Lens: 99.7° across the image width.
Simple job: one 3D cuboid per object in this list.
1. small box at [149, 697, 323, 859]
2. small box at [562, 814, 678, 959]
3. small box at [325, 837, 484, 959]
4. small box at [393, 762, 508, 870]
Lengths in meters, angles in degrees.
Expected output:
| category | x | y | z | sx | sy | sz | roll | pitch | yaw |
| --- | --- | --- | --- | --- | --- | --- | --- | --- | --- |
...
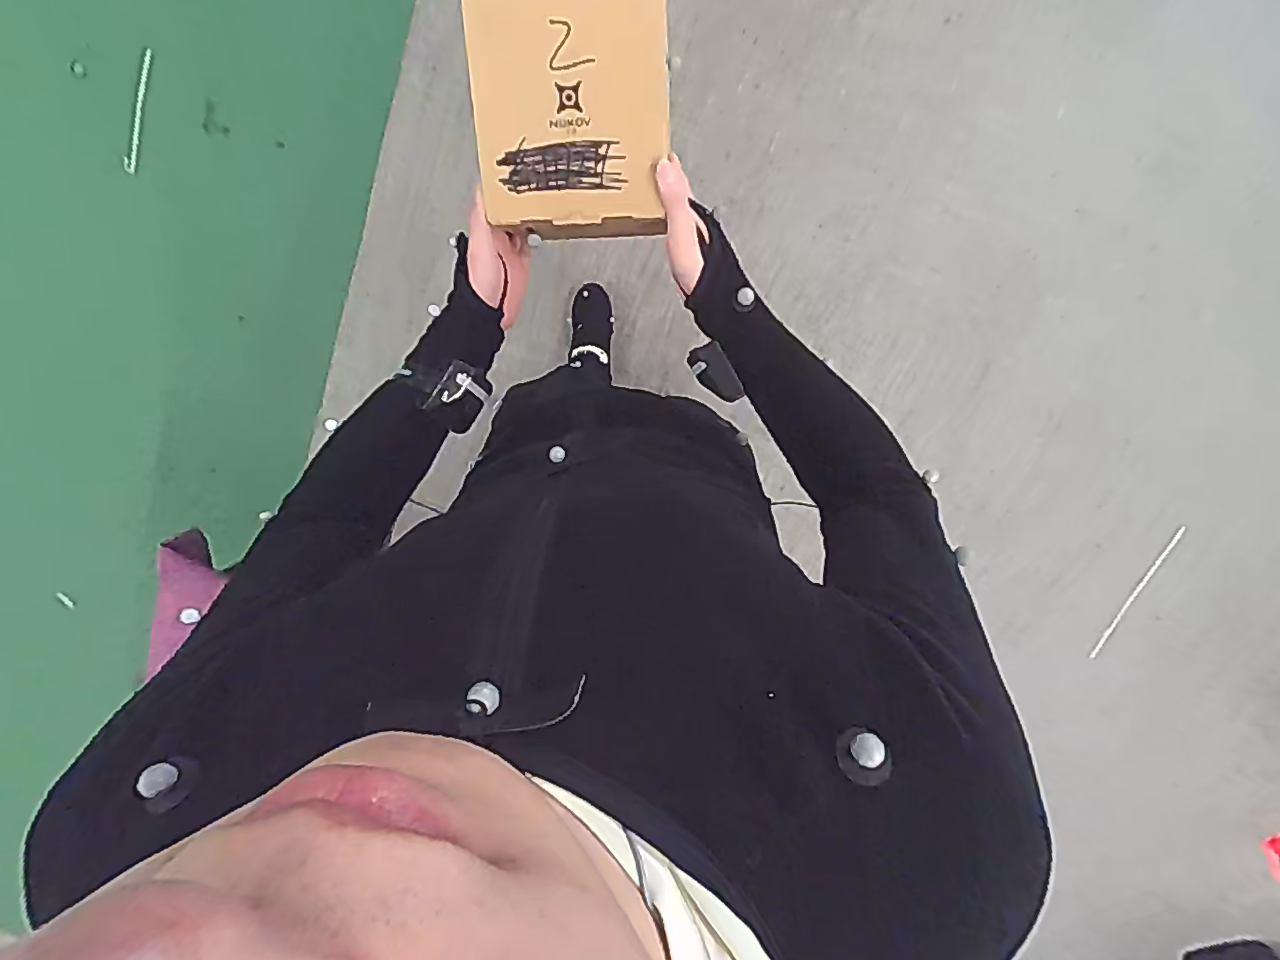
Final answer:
| category | x | y | z | sx | sy | sz | roll | pitch | yaw |
| --- | --- | --- | --- | --- | --- | --- | --- | --- | --- |
| small box | -0.724 | 0.528 | 0.982 | 0.179 | 0.176 | 0.168 | 21 | 106 | -3 |
| small box | -0.032 | 0.780 | 1.015 | 0.168 | 0.176 | 0.179 | 18 | 105 | -2 |
| small box | -0.365 | 0.705 | 0.844 | 0.179 | 0.176 | 0.168 | 20 | 104 | -2 |
| small box | -0.359 | 0.666 | 1.002 | 0.168 | 0.176 | 0.179 | 20 | 106 | -2 |
